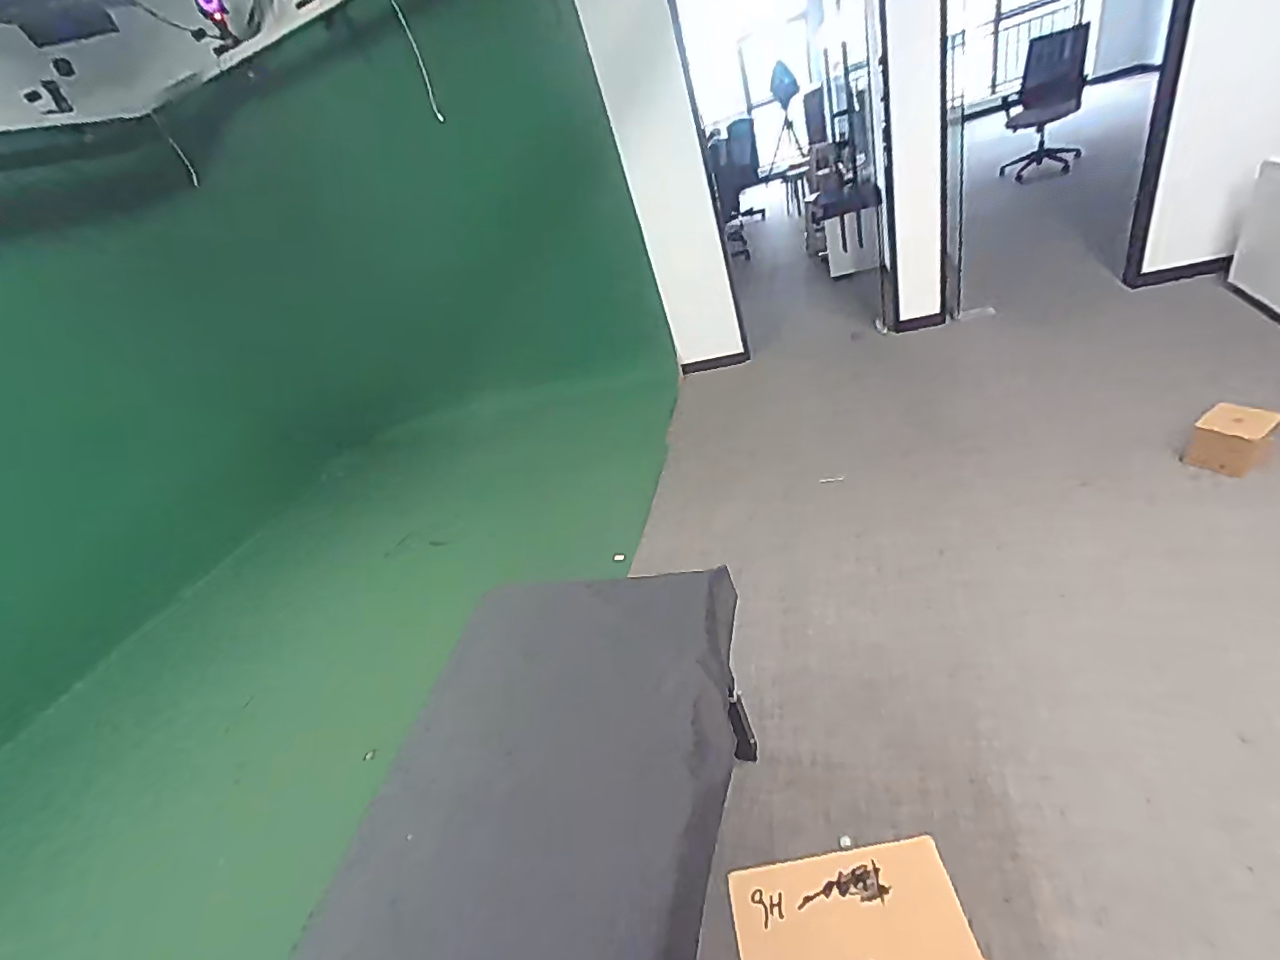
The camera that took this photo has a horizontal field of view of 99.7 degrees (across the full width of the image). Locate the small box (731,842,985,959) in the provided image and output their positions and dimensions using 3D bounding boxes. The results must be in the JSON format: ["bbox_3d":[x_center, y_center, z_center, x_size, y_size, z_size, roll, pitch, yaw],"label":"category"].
[{"bbox_3d":[0.180,0.410,0.417,0.168,0.176,0.179,-15,42,8],"label":"small box"}]
